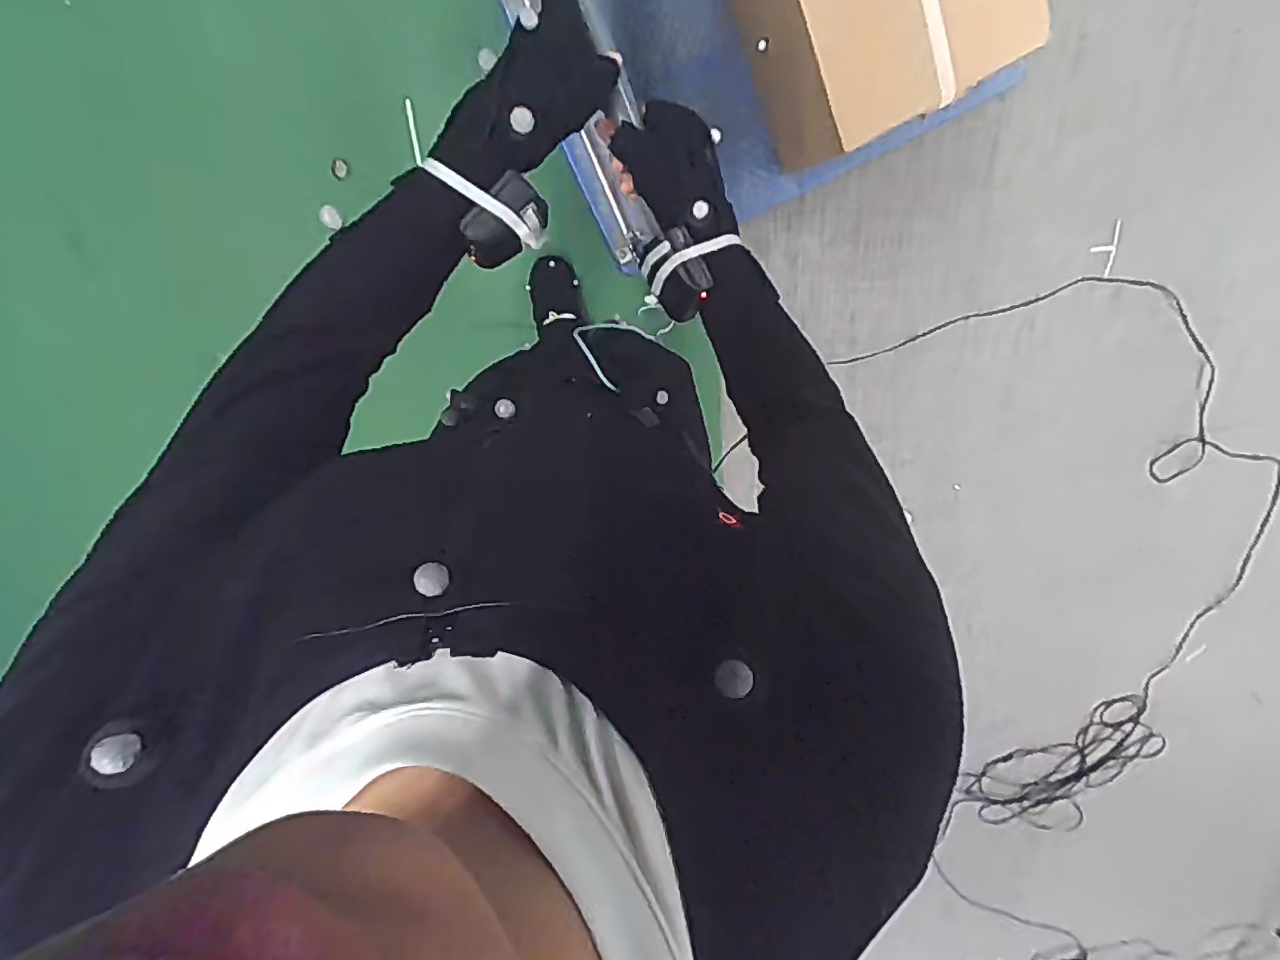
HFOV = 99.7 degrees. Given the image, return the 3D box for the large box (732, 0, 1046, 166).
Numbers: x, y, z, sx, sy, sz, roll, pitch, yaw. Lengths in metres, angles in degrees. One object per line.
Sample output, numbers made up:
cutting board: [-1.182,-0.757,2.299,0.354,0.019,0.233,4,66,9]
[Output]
large box: [0.348,-0.790,0.852,0.320,0.320,0.408,-26,113,8]
